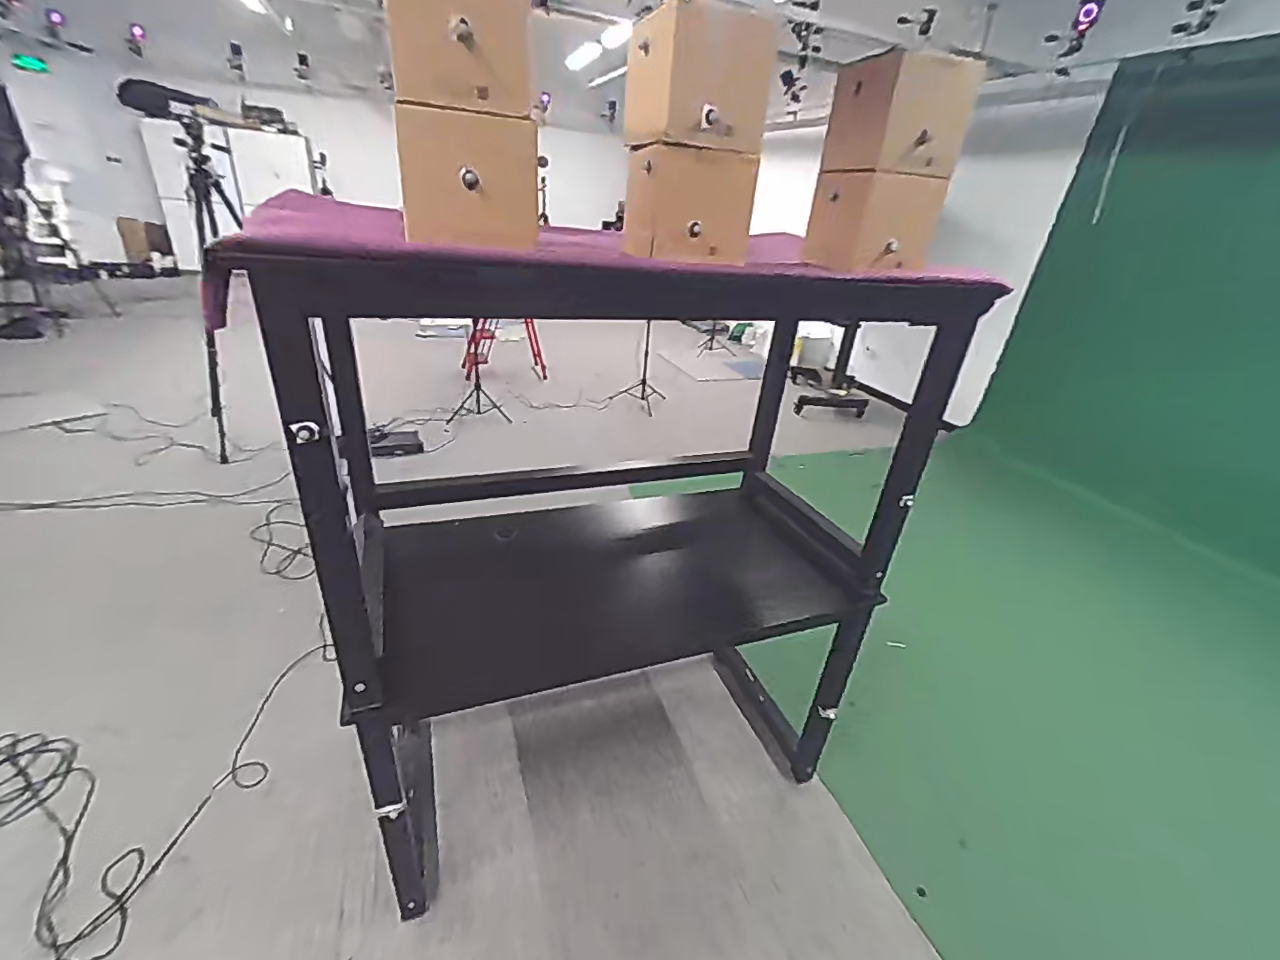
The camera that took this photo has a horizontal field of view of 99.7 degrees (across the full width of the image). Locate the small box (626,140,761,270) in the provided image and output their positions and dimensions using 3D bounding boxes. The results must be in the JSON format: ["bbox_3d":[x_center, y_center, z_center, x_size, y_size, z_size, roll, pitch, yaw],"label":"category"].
[{"bbox_3d":[0.077,-0.456,0.906,0.168,0.176,0.179,-4,28,-17],"label":"small box"}]

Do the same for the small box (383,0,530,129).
[{"bbox_3d":[-0.240,-0.569,0.708,0.168,0.176,0.179,-6,29,-20],"label":"small box"}]

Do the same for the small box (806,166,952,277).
[{"bbox_3d":[0.441,-0.492,1.031,0.168,0.176,0.179,-4,30,-16],"label":"small box"}]

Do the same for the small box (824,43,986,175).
[{"bbox_3d":[0.453,-0.638,0.956,0.168,0.176,0.179,-5,29,-15],"label":"small box"}]

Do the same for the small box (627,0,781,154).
[{"bbox_3d":[0.085,-0.597,0.827,0.168,0.176,0.179,-8,31,-21],"label":"small box"}]
